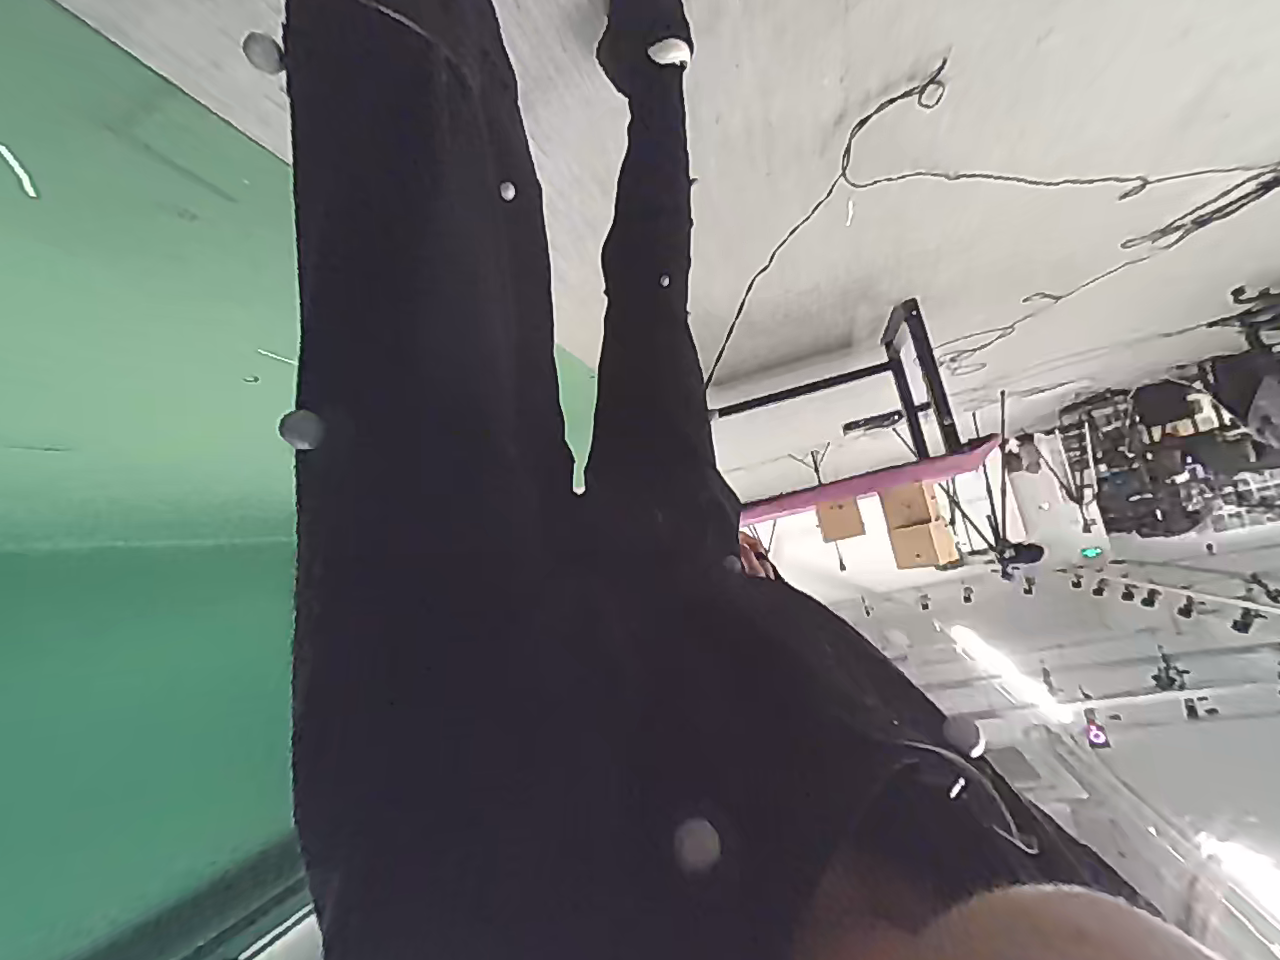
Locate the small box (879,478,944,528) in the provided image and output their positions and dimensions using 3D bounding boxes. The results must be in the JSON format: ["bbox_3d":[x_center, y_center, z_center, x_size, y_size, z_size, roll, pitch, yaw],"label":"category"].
[{"bbox_3d":[1.109,0.092,2.207,0.179,0.176,0.168,-19,169,40],"label":"small box"}]

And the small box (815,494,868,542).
[{"bbox_3d":[0.845,0.158,2.279,0.168,0.176,0.179,-15,172,14],"label":"small box"}]

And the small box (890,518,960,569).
[{"bbox_3d":[1.140,0.250,2.168,0.168,0.176,0.179,-6,171,-37],"label":"small box"}]
